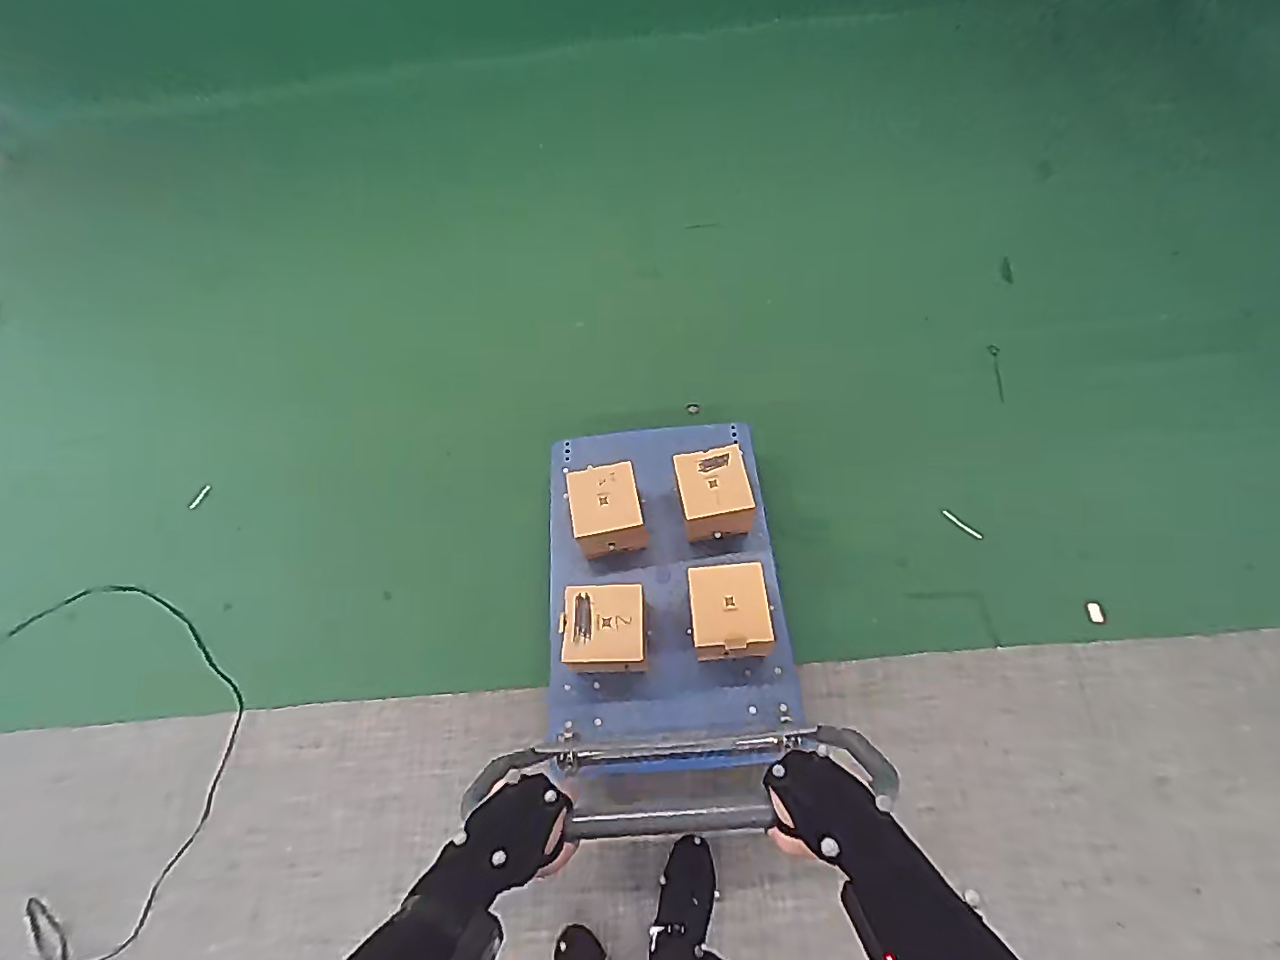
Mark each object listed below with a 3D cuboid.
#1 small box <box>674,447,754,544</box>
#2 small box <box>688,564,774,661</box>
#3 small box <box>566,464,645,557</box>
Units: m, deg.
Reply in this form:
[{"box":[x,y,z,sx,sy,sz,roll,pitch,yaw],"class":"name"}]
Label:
[{"box":[0.180,0.043,1.365,0.168,0.176,0.179,-10,64,0],"class":"small box"},{"box":[0.198,0.306,1.235,0.168,0.176,0.179,-5,64,2],"class":"small box"},{"box":[-0.082,0.086,1.366,0.168,0.176,0.179,-11,63,-1],"class":"small box"}]
